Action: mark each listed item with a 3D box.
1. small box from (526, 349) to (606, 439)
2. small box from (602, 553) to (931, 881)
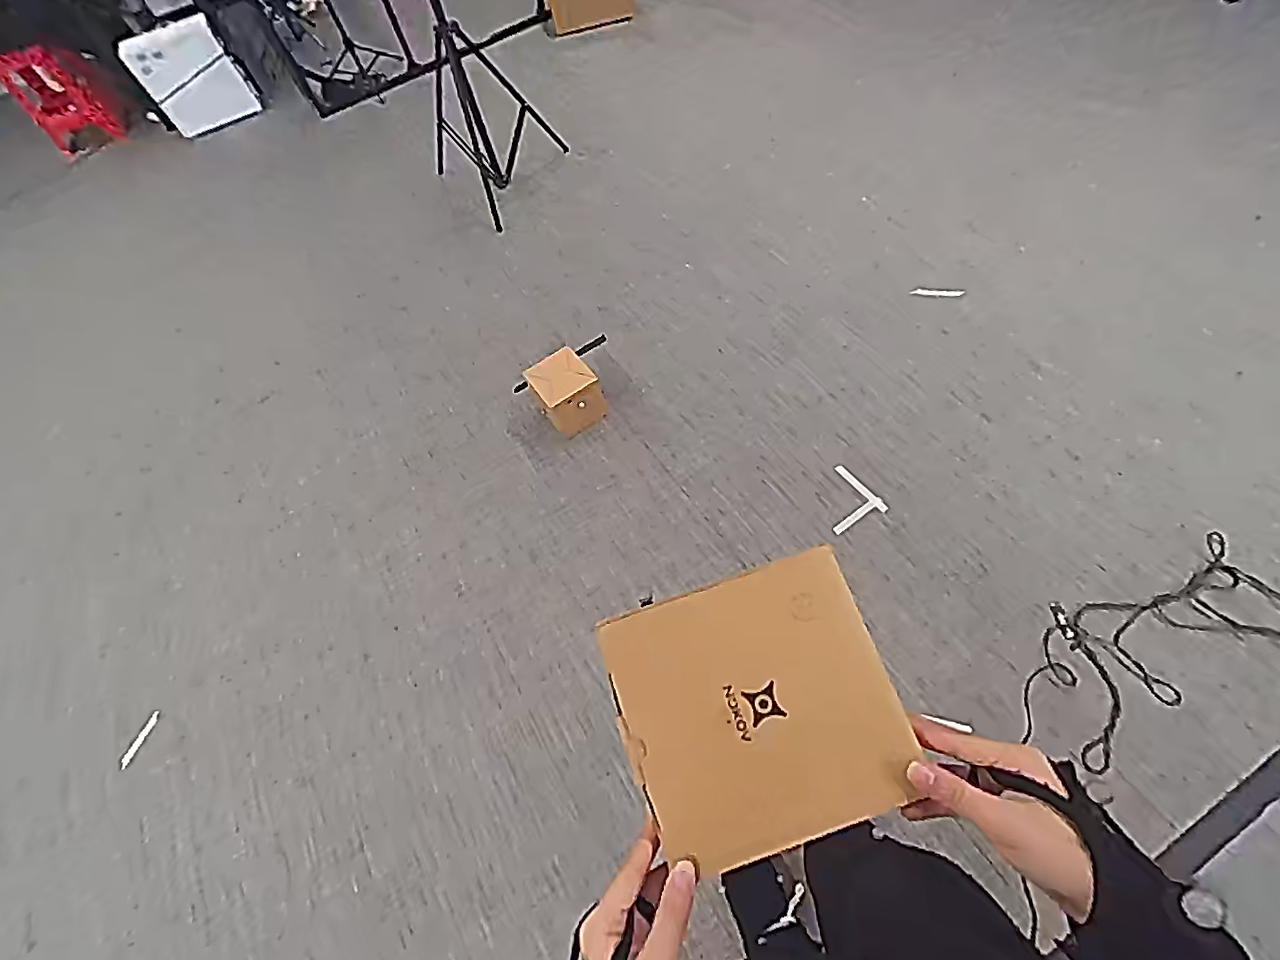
[{"bbox_3d":[-0.229,-0.267,1.652,0.168,0.176,0.179,-34,61,-10],"label":"small box"},{"bbox_3d":[0.084,0.167,0.435,0.179,0.176,0.168,-19,76,0],"label":"small box"}]
